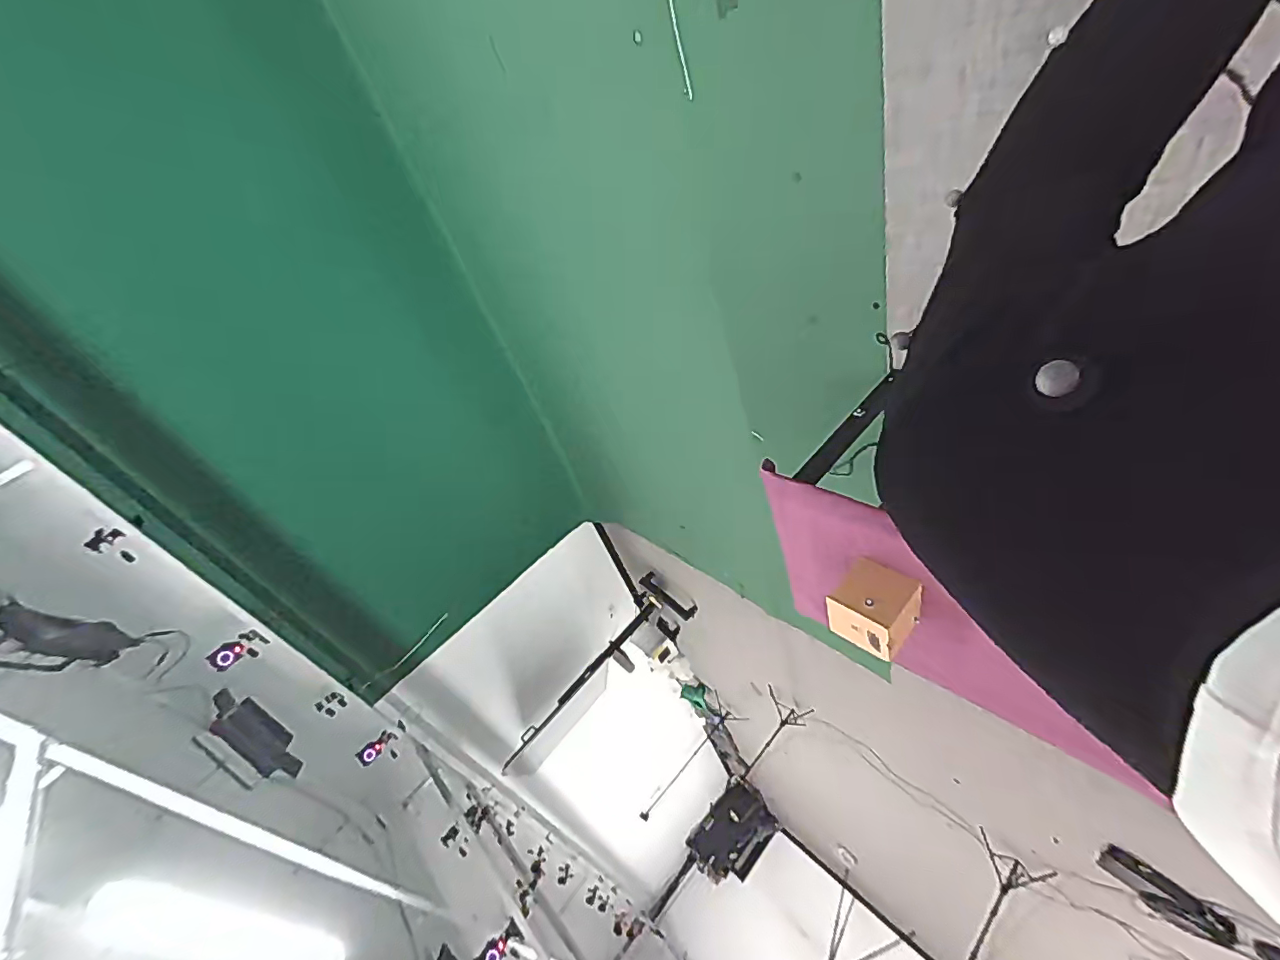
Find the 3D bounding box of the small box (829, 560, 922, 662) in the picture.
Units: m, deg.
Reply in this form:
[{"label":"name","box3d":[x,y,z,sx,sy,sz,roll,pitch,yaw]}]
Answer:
[{"label":"small box","box3d":[0.636,0.346,1.460,0.179,0.176,0.168,26,148,42]}]
